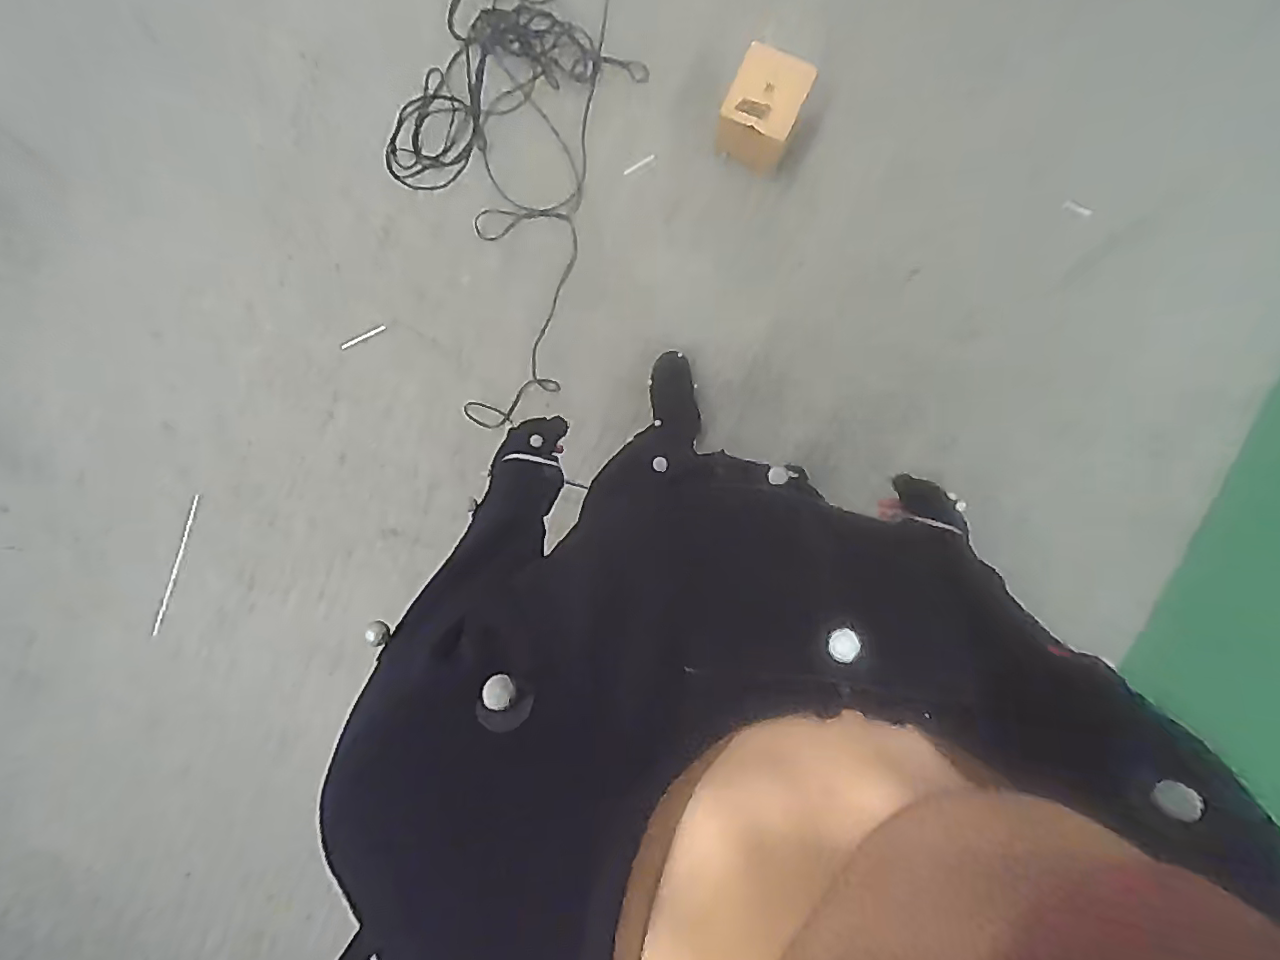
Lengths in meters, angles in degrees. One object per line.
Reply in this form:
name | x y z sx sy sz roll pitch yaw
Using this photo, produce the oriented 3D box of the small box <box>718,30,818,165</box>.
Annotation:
small box | 0.295 -0.896 1.286 0.168 0.176 0.179 26 96 2
